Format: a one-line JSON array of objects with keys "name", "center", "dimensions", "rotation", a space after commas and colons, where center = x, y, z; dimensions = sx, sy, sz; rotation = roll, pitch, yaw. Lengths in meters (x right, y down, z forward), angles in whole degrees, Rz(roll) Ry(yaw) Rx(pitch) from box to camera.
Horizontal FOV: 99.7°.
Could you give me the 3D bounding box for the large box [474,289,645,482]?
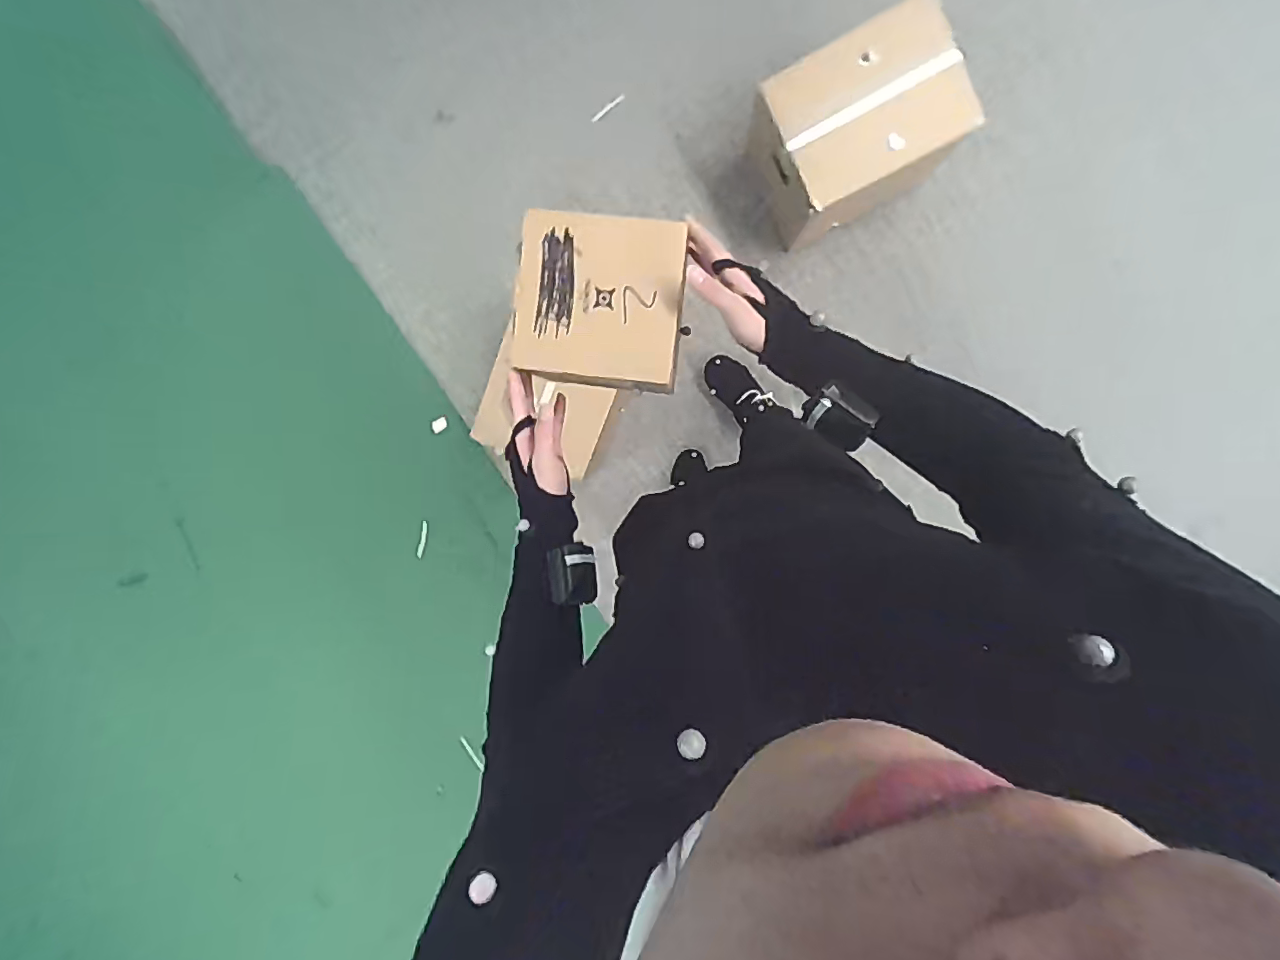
[{"name": "large box", "center": [-0.202, -0.251, 1.481], "dimensions": [0.320, 0.320, 0.408], "rotation": [22, 99, 3]}]
